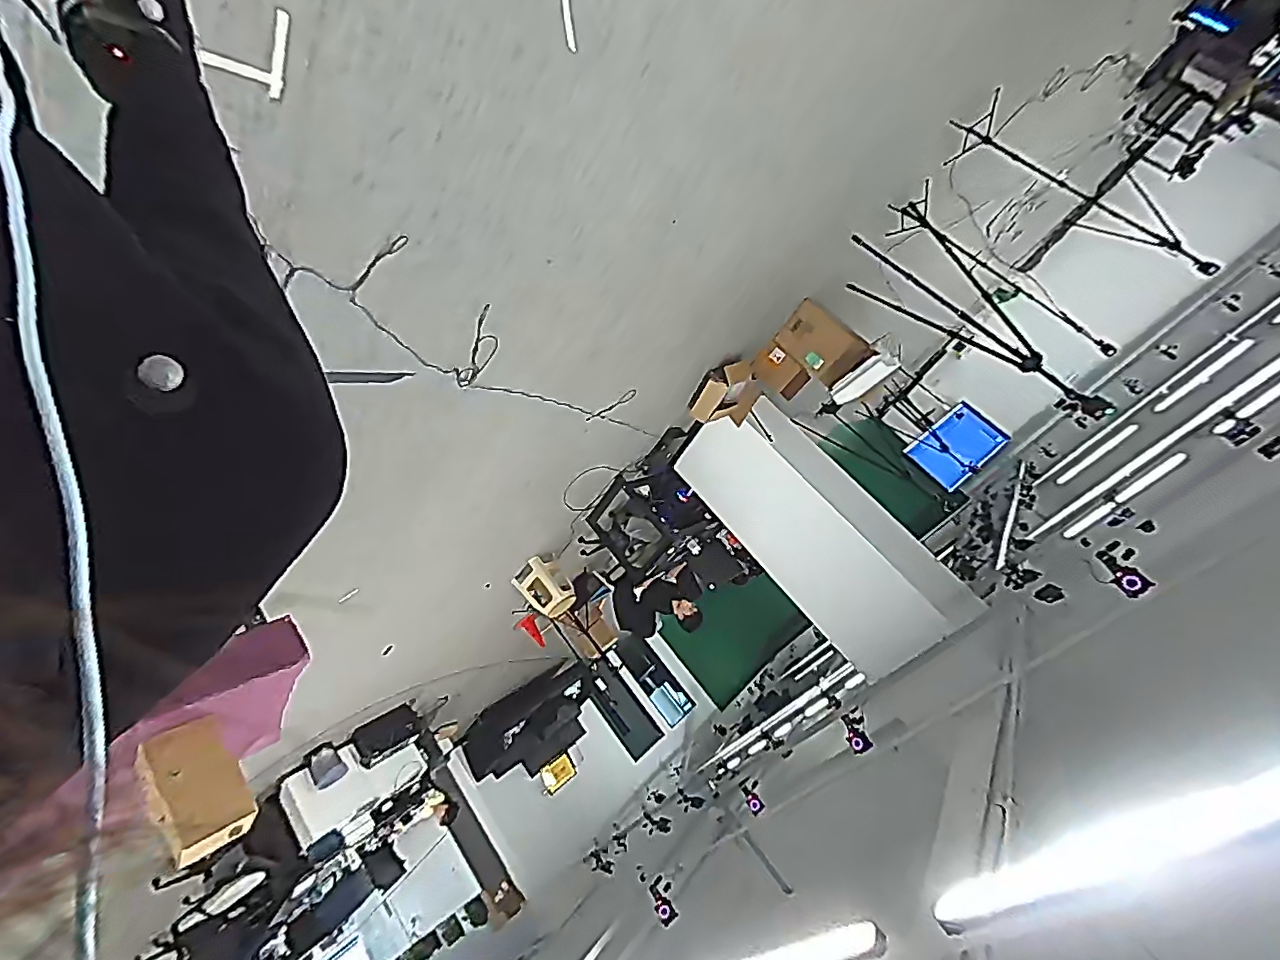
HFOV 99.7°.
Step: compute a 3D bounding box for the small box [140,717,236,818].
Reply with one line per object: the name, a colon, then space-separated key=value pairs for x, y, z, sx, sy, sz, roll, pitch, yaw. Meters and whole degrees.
small box: x=-1.337 y=0.840 z=1.594 sx=0.179 sy=0.176 sz=0.168 roll=-13 pitch=147 yaw=-54
